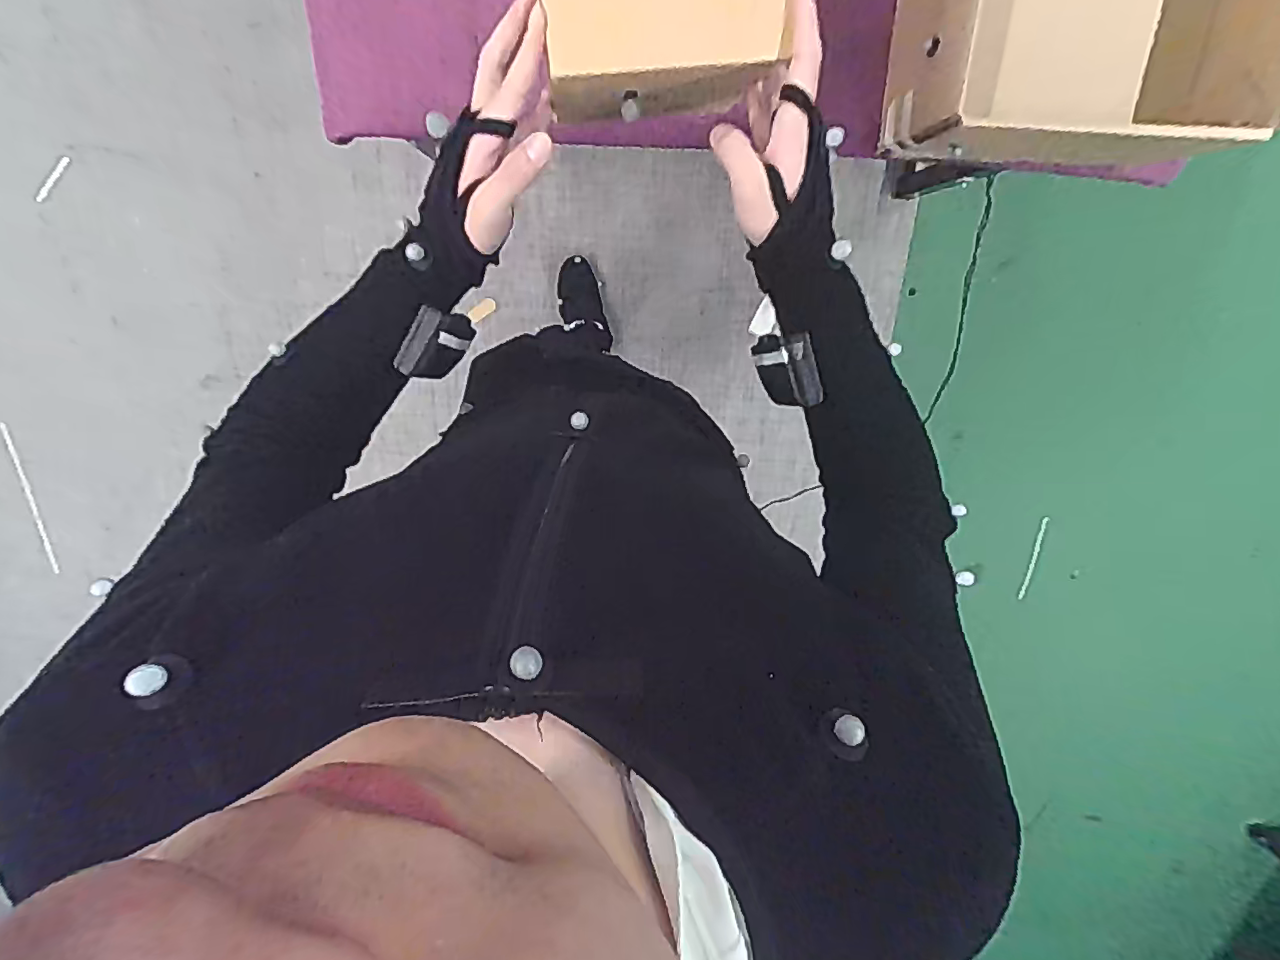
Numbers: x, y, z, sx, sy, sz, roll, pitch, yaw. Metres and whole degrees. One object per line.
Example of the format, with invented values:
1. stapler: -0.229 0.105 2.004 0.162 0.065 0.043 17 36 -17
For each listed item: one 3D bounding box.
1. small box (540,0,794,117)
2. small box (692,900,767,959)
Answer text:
1. small box: 0.006 -0.384 0.394 0.168 0.176 0.179 -8 114 -4
2. small box: 0.268 1.384 1.584 0.179 0.176 0.168 -22 109 4
